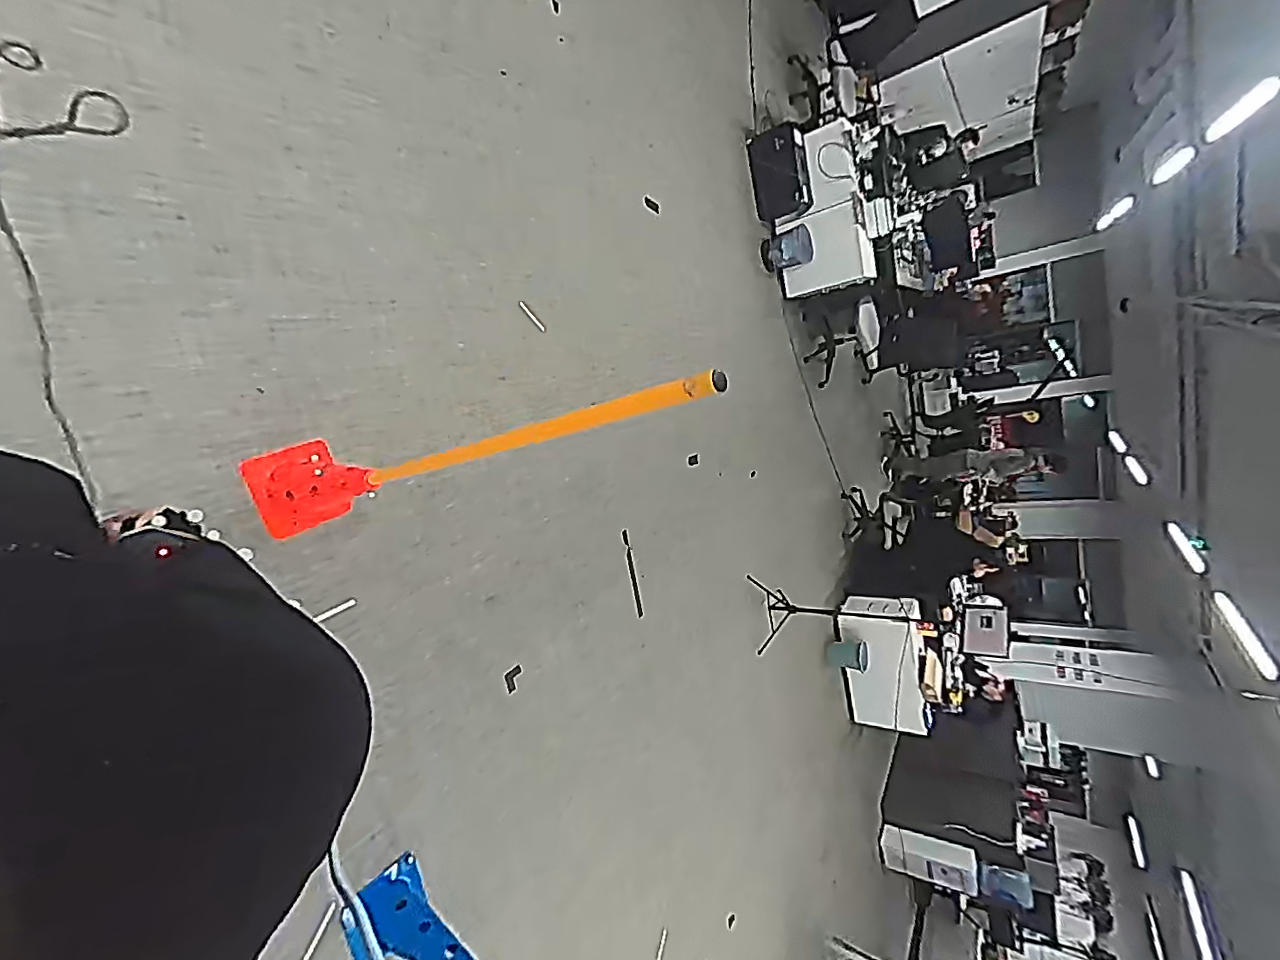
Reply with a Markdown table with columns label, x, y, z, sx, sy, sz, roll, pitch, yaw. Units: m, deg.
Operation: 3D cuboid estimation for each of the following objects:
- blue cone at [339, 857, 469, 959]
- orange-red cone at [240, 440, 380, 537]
| label | x | y | z | sx | sy | sz | roll | pitch | yaw |
| --- | --- | --- | --- | --- | --- | --- | --- | --- | --- |
| blue cone | -0.530 | 1.102 | 1.297 | 0.193 | 0.380 | 0.192 | -21 | 102 | -53 |
| orange-red cone | -0.681 | 0.007 | 1.192 | 0.199 | 0.360 | 0.198 | -32 | 111 | -50 |
